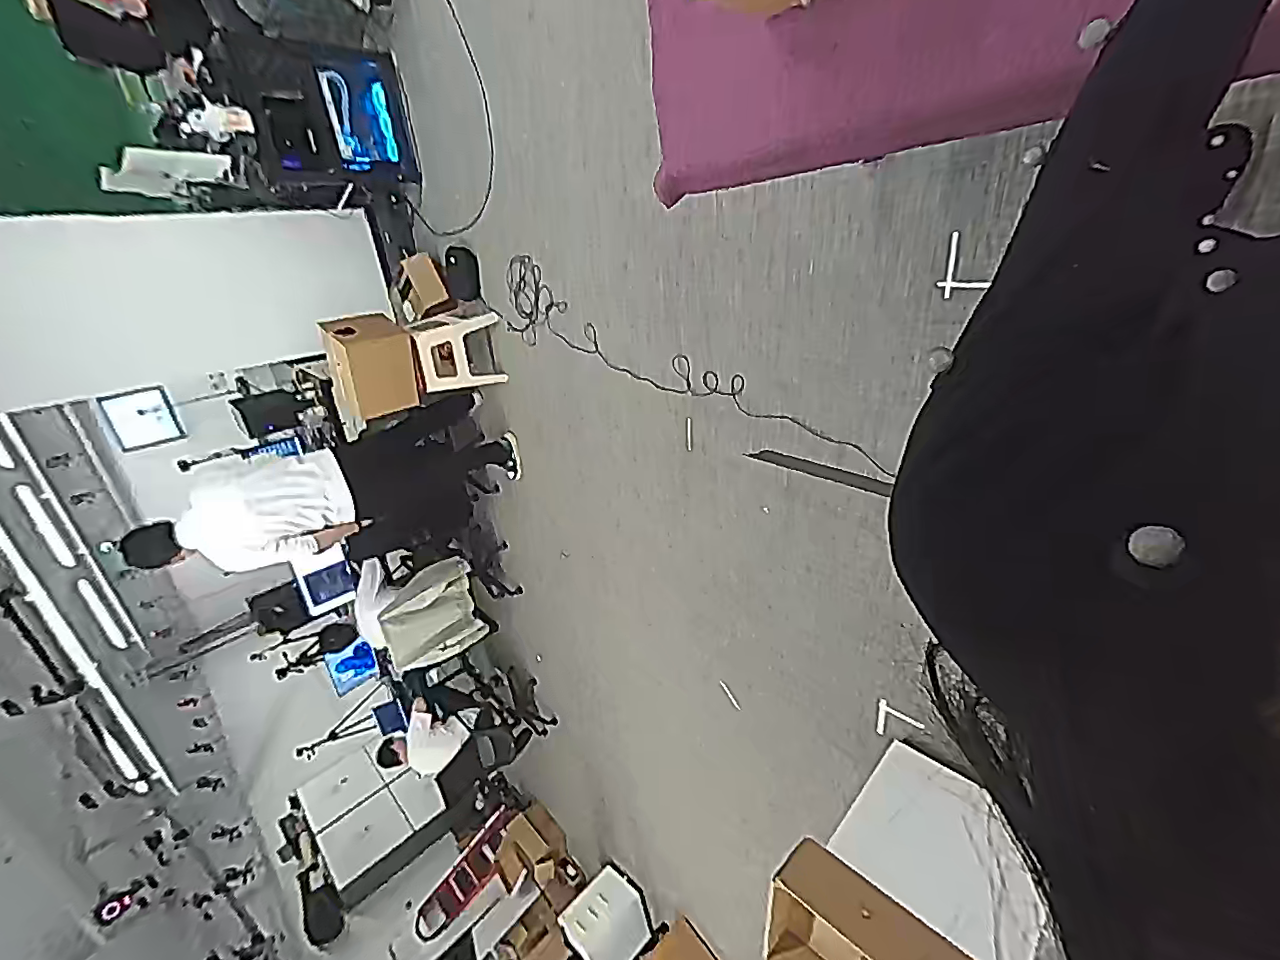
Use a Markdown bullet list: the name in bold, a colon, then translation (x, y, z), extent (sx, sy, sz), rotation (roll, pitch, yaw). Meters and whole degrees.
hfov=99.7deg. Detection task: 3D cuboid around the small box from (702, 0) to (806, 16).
- **small box**: translation (0.167, -0.667, 0.609), extent (0.179, 0.176, 0.168), rotation (15, 122, 44)
